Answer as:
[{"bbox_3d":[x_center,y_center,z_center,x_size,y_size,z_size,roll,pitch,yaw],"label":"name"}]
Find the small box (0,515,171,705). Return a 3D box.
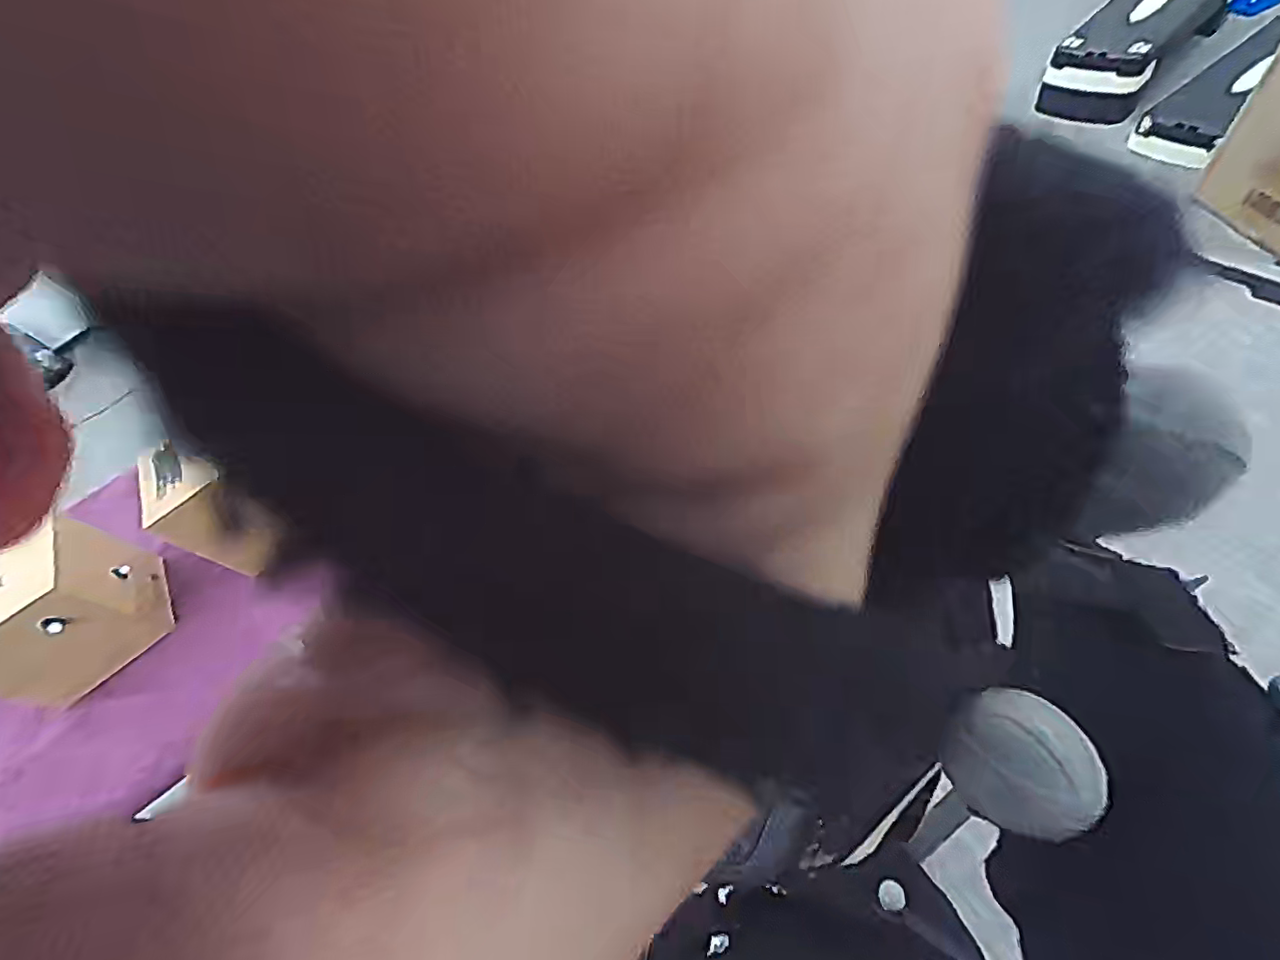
[{"bbox_3d":[-0.825,0.190,0.779,0.179,0.176,0.168,-39,55,-11],"label":"small box"}]
